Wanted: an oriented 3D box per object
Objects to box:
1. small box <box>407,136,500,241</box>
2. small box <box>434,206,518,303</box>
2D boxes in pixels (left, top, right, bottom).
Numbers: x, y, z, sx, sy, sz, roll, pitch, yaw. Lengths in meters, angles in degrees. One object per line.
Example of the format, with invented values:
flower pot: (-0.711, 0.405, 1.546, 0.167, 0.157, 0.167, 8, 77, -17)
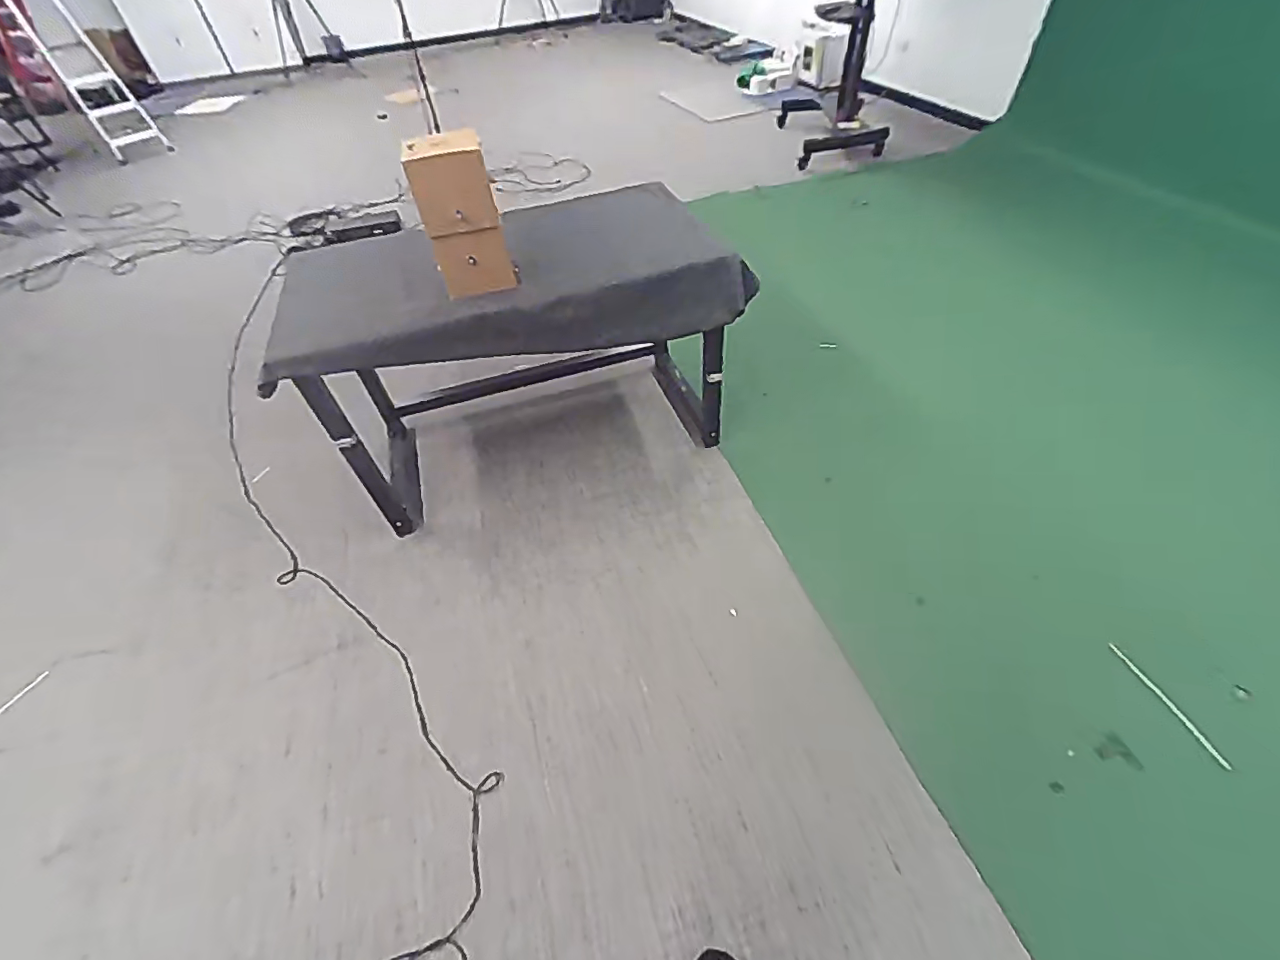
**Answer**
small box: (-0.438, -0.694, 1.291, 0.179, 0.176, 0.168, -13, 47, -8)
small box: (-0.426, -0.590, 1.417, 0.179, 0.176, 0.168, -15, 47, -7)
